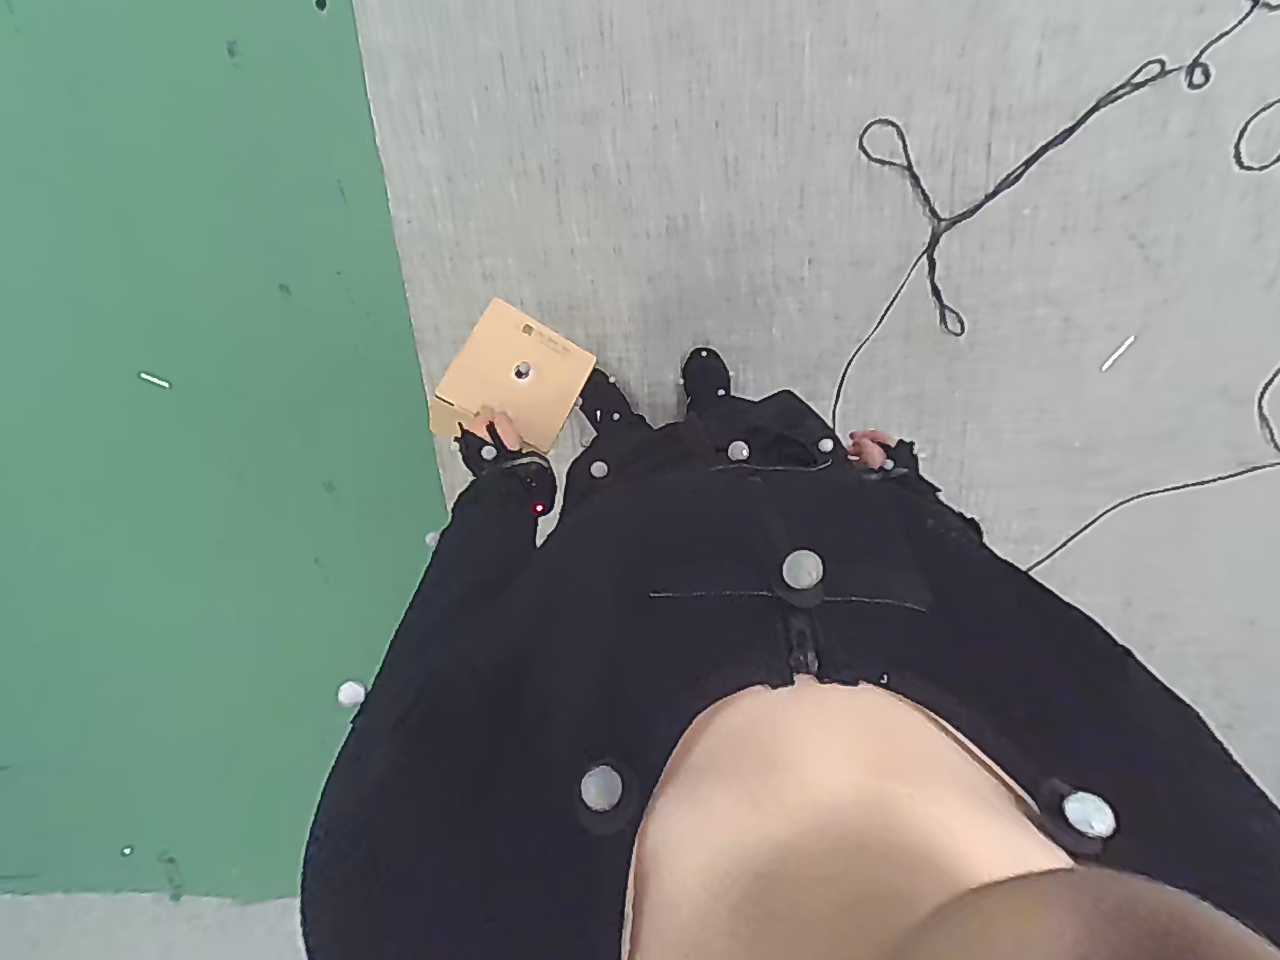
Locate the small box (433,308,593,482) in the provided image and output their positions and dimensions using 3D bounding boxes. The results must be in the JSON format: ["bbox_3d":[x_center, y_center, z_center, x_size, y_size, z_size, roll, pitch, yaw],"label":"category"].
[{"bbox_3d":[-0.188,-0.121,0.808,0.168,0.179,0.176,29,69,-14],"label":"small box"}]
